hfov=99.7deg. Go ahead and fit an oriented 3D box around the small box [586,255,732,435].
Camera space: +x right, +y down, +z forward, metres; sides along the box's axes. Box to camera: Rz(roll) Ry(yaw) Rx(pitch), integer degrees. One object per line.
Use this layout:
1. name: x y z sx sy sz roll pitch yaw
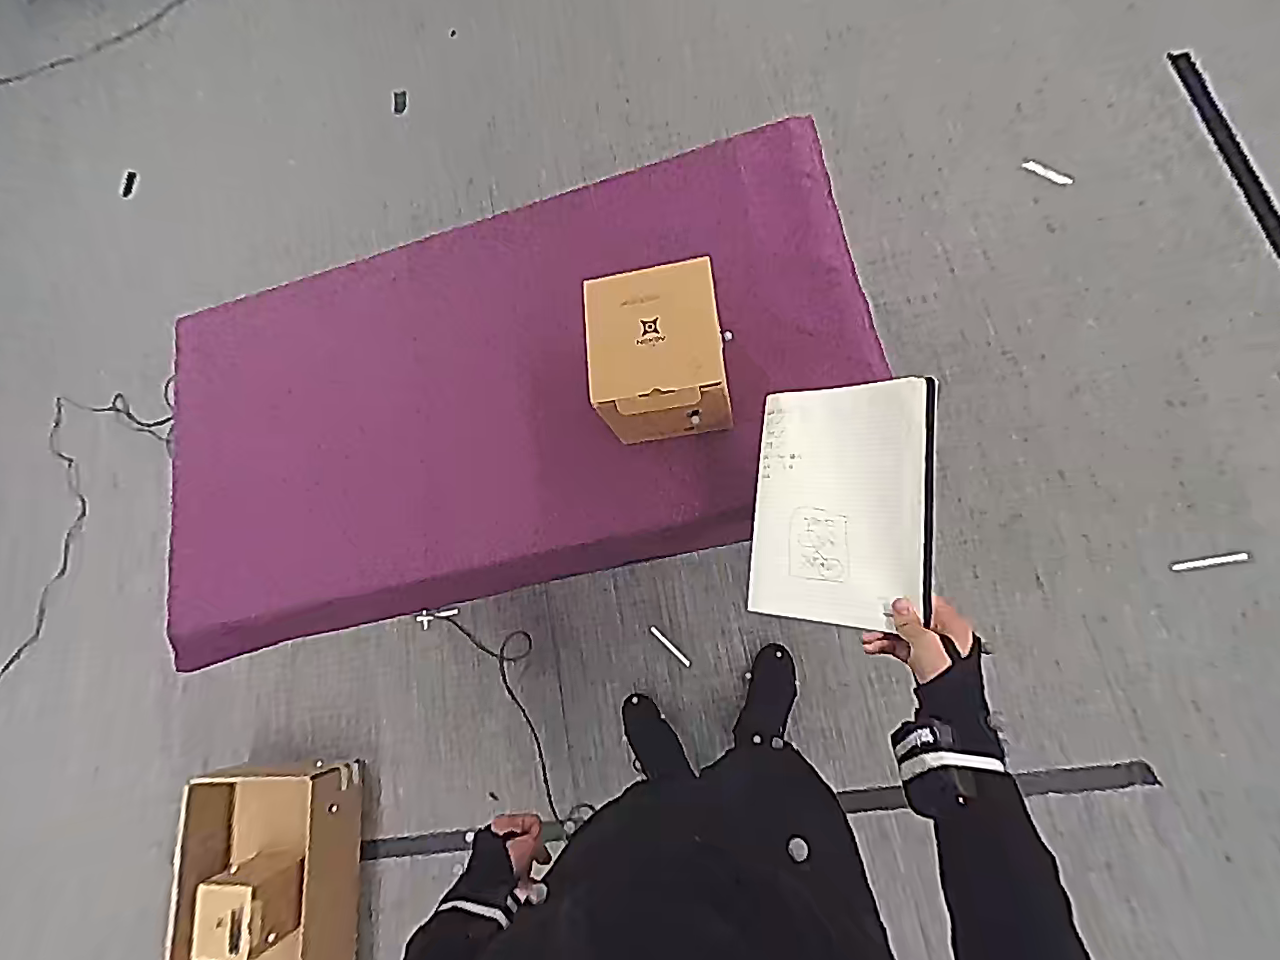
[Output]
1. small box: 0.032 -0.168 0.737 0.168 0.176 0.179 -7 76 10
